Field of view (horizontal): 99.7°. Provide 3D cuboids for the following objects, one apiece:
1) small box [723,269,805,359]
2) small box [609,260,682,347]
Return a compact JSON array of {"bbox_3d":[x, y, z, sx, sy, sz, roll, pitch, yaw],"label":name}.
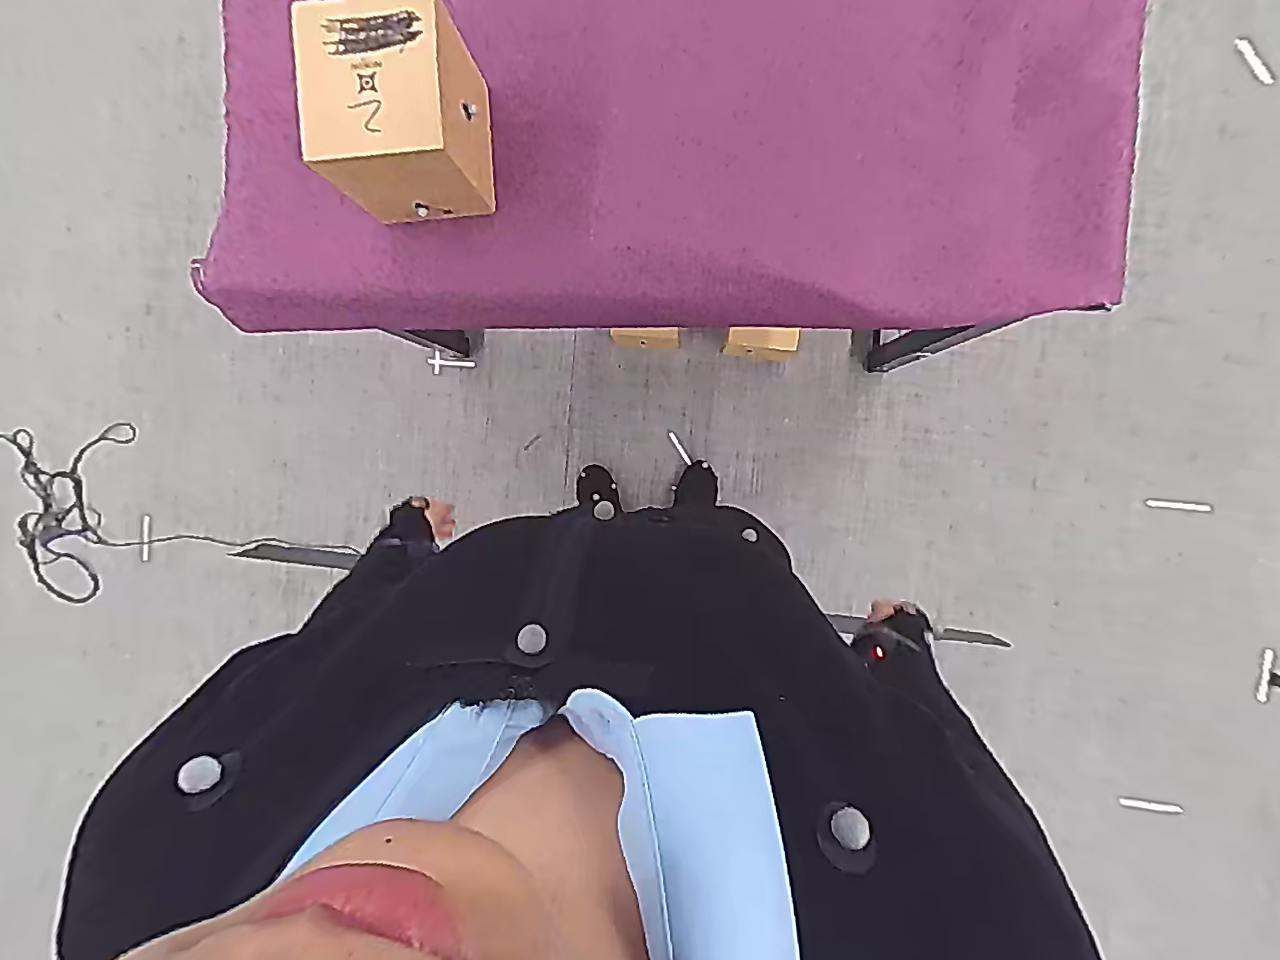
[{"bbox_3d":[0.306,-0.410,1.367,0.168,0.176,0.179,8,93,4],"label":"small box"},{"bbox_3d":[0.019,-0.443,1.385,0.168,0.176,0.179,5,93,4],"label":"small box"}]
